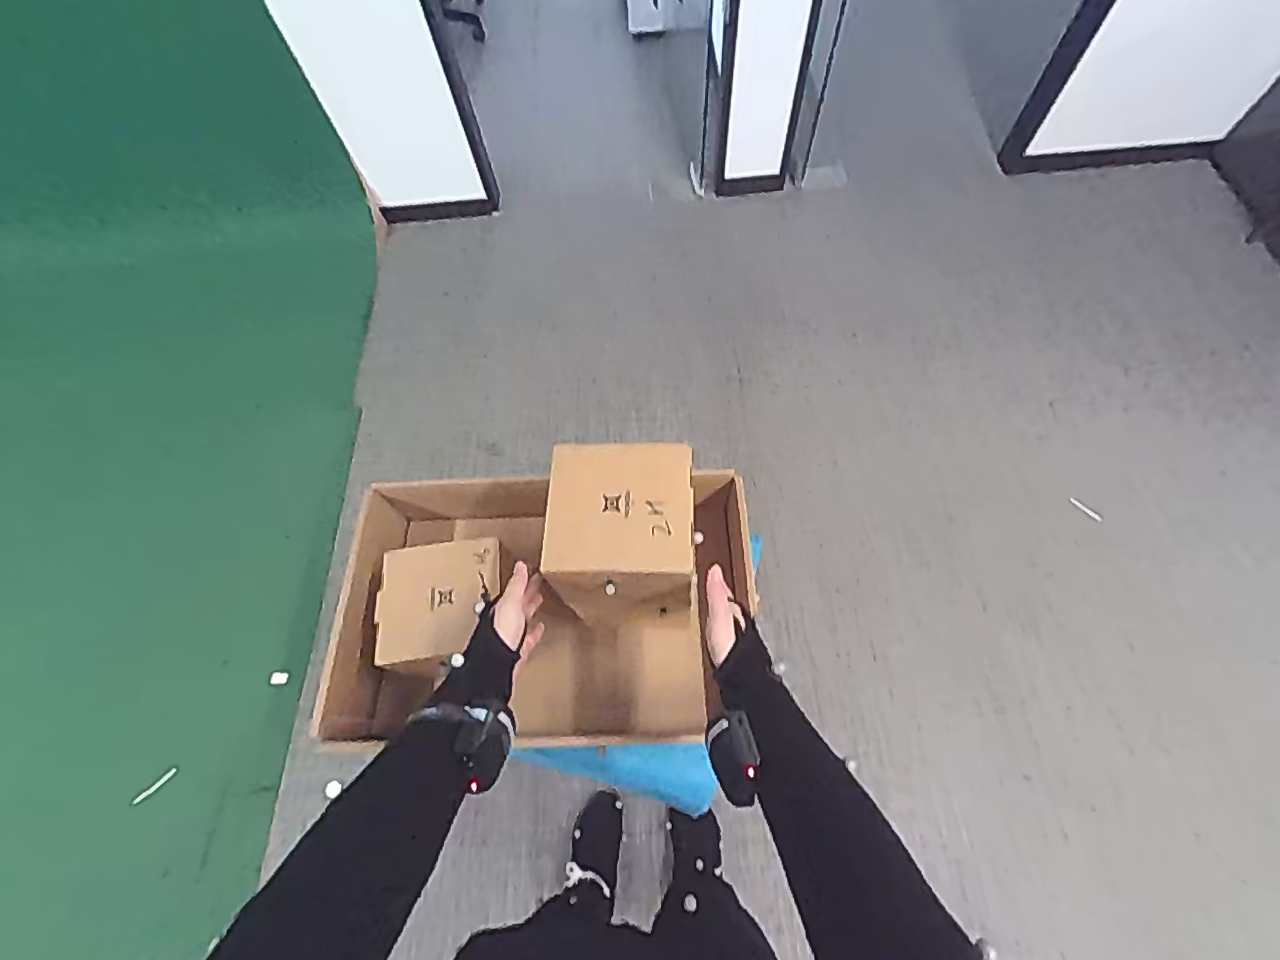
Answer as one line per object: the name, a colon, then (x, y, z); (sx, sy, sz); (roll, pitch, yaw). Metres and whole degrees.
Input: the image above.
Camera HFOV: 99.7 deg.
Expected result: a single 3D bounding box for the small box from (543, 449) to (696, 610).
small box: (-0.016, 0.071, 0.712); (0.179, 0.176, 0.168); (0, 63, 4)
